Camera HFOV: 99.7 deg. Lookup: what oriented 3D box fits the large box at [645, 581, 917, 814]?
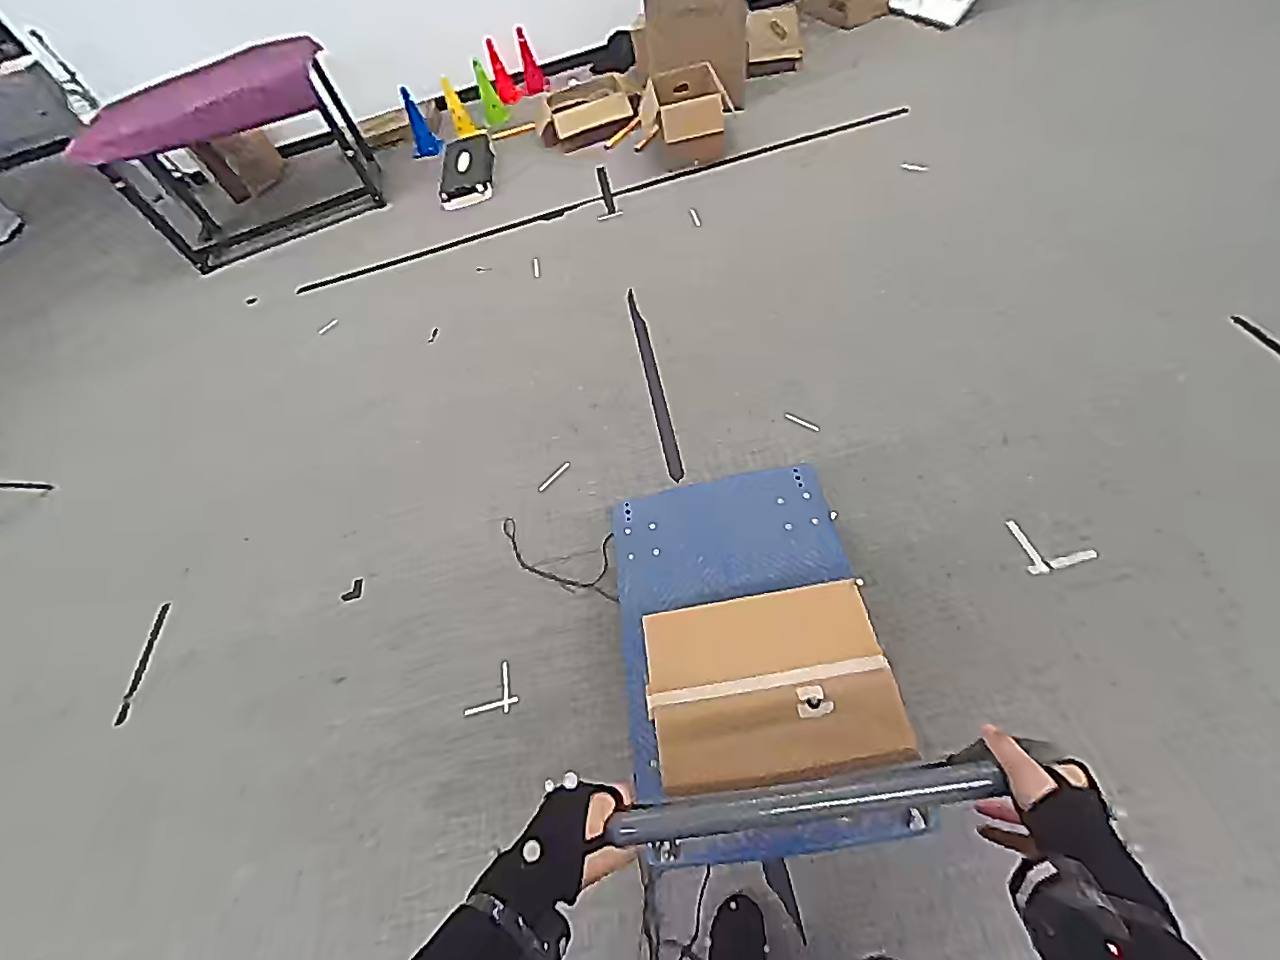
[{"bbox_3d":[0.246,0.436,1.056,0.408,0.320,0.320,-11,55,4],"label":"large box"}]
